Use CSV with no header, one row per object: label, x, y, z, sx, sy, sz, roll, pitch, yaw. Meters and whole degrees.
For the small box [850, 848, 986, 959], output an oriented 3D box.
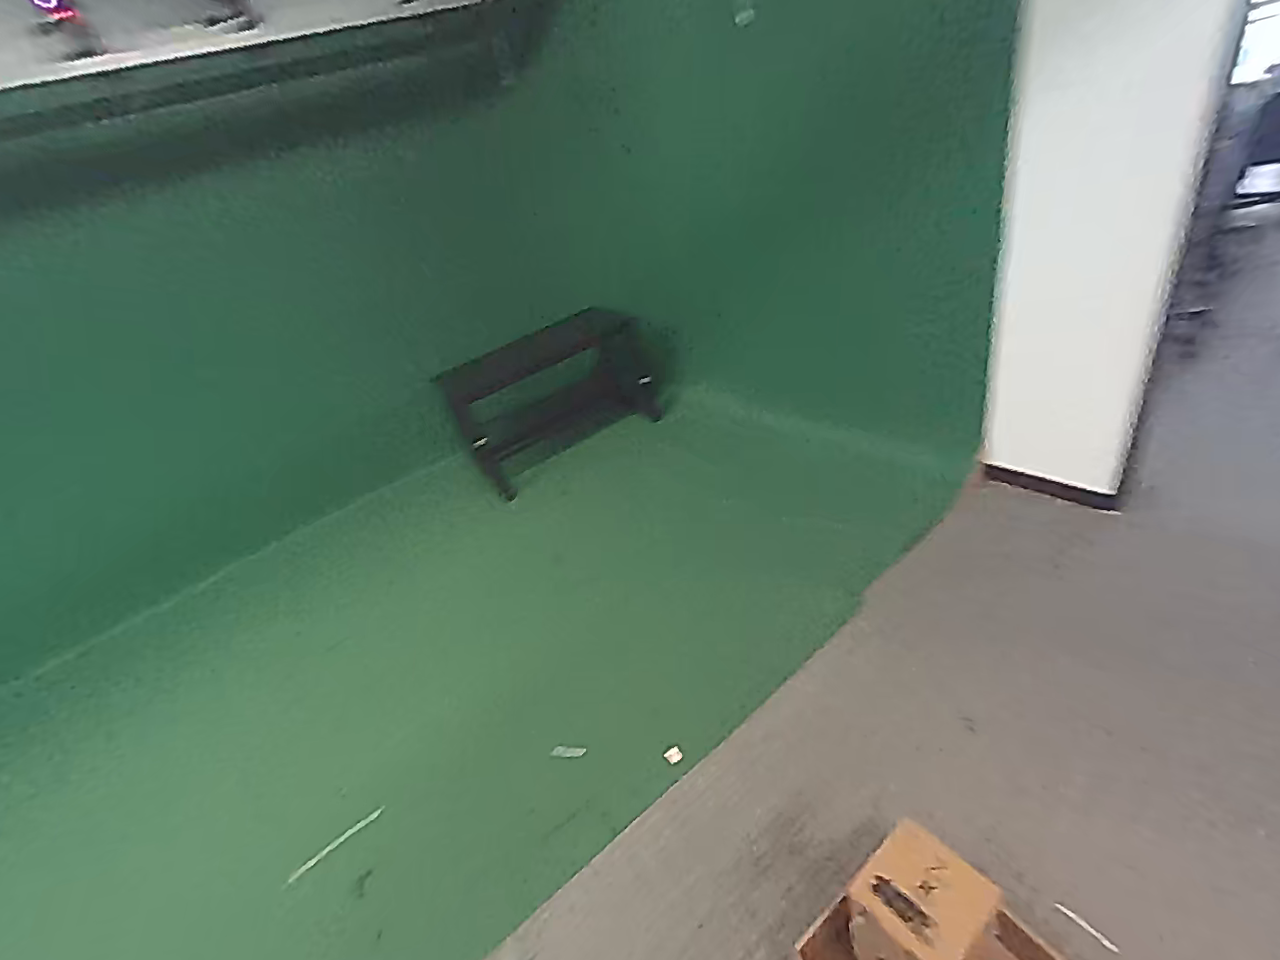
small box,0.524,0.867,1.032,0.179,0.176,0.168,-32,34,-23
